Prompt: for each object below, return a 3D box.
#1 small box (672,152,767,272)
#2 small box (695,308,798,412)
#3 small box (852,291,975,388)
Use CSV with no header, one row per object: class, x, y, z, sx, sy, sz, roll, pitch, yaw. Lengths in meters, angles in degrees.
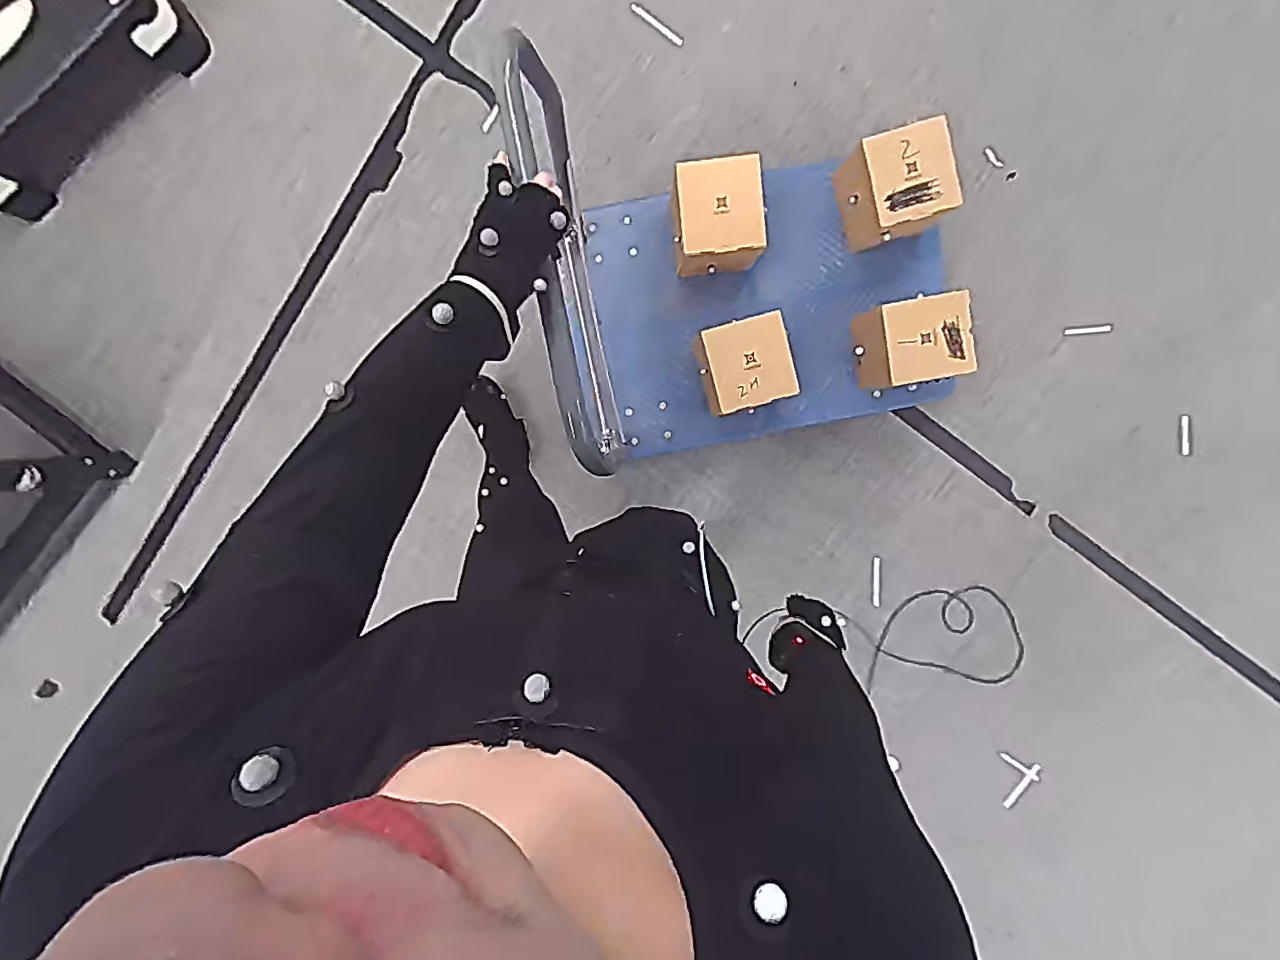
small box,0.160,-0.553,1.134,0.168,0.176,0.179,-6,98,0
small box,0.221,-0.251,1.168,0.168,0.176,0.179,-14,96,2
small box,0.580,-0.295,1.163,0.179,0.176,0.168,-9,96,2
